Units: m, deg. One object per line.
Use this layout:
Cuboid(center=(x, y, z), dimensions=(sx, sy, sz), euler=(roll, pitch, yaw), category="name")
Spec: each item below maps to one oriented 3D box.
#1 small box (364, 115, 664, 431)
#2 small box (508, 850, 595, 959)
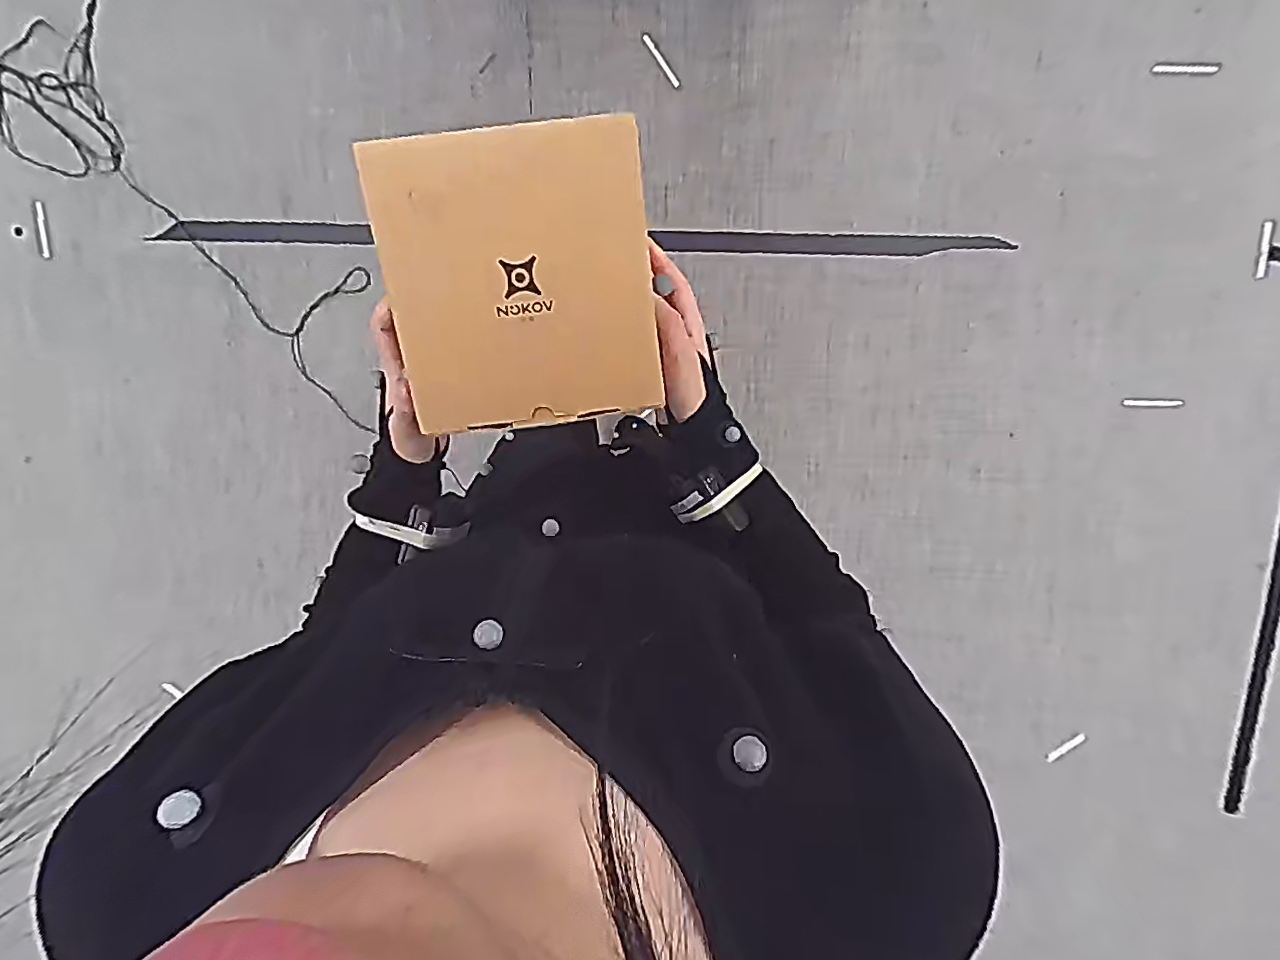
Cuboid(center=(-0.078, -0.147, 0.417), dimensions=(0.168, 0.176, 0.179), euler=(-7, 108, -1), category="small box")
Cuboid(center=(-0.197, 0.993, 1.249), dimensions=(0.179, 0.176, 0.168), euler=(-1, 97, 1), category="small box")
